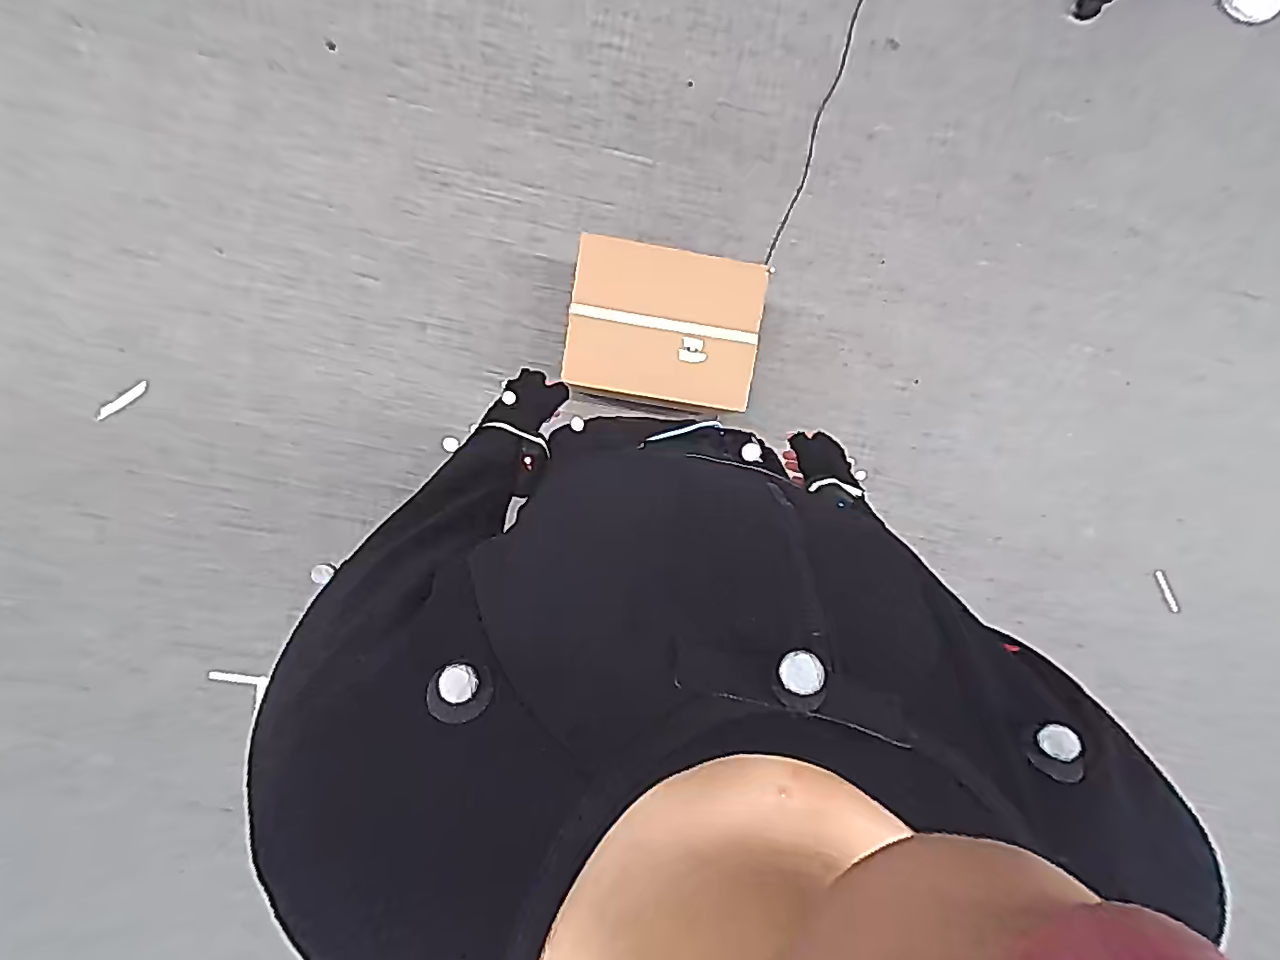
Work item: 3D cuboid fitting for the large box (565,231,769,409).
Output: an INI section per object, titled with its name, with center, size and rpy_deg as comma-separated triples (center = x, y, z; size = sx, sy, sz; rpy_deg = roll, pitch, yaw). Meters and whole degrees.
[large box]
center = 0.048, -0.356, 1.299
size = 0.408, 0.320, 0.320
rpy_deg = 10, 96, -4
